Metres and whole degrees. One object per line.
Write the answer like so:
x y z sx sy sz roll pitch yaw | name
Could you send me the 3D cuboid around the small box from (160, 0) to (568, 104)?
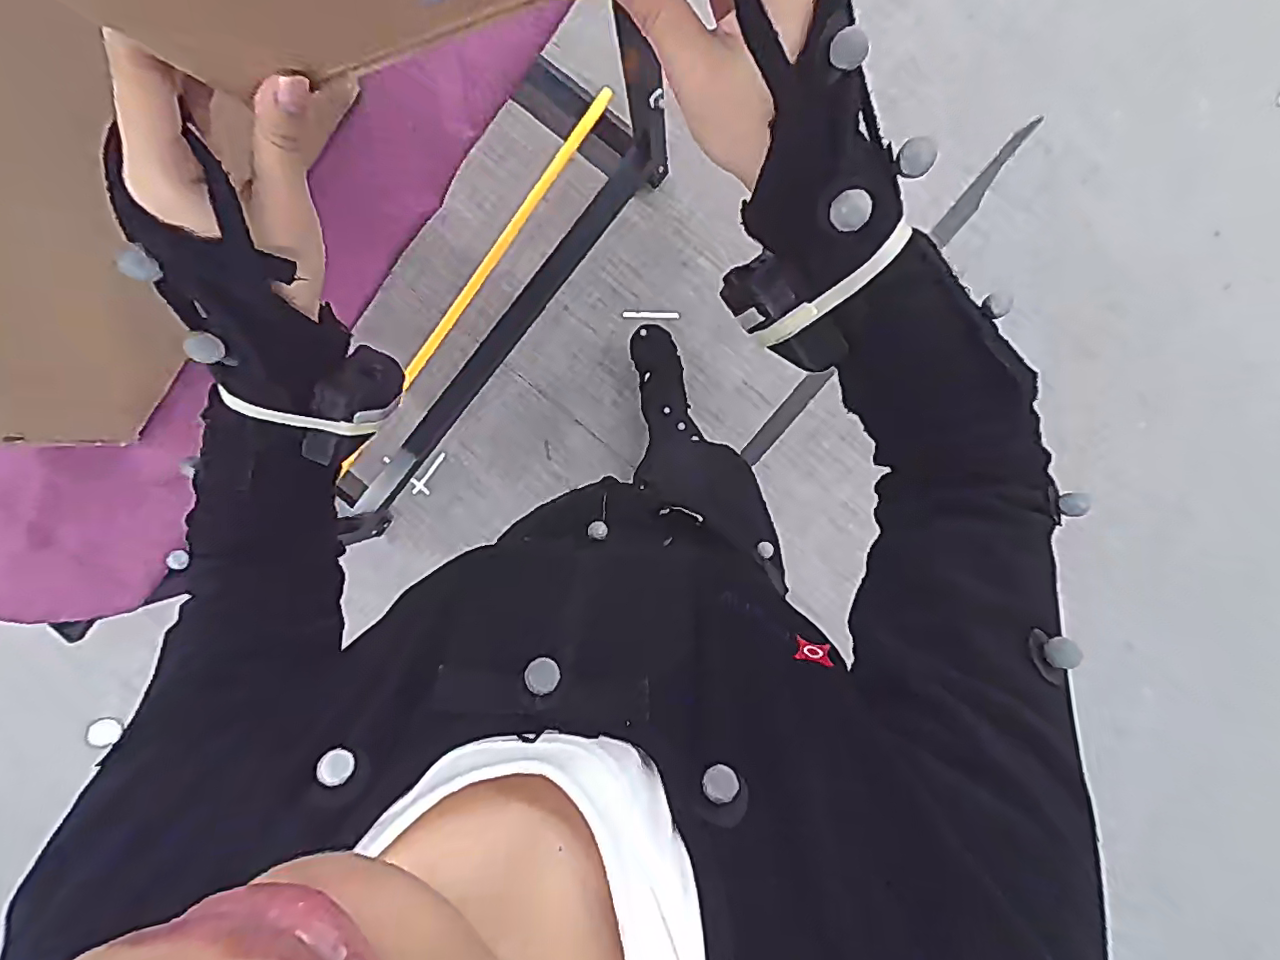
-0.098 -0.234 0.119 0.179 0.176 0.168 -13 100 7 | small box
